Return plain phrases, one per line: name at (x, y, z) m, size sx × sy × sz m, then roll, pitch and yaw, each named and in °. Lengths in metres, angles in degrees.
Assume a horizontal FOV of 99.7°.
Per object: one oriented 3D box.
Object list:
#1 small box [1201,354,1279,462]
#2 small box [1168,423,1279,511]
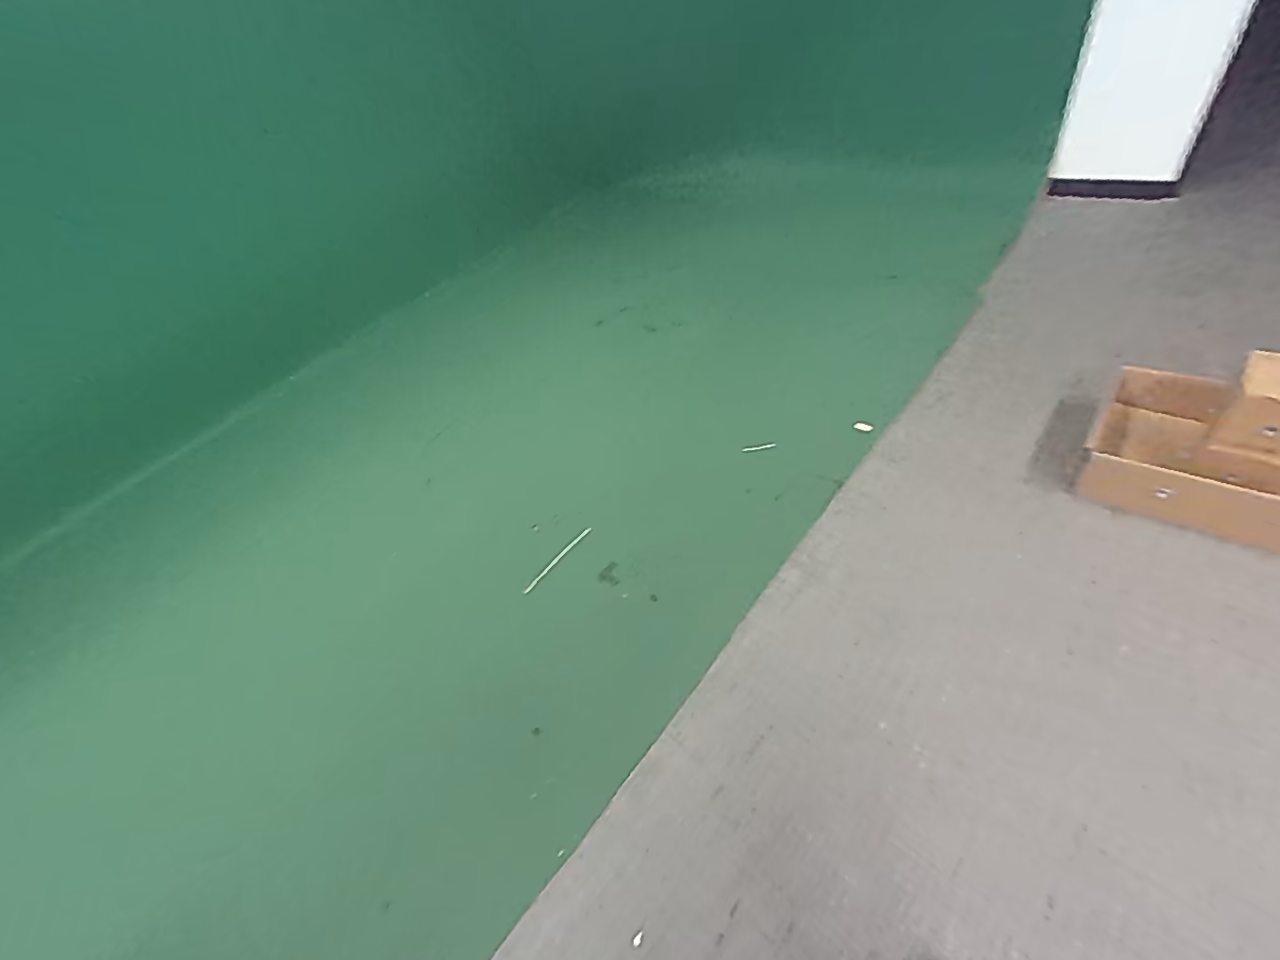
small box at (1.486, -0.168, 1.282) m, size 0.168 × 0.176 × 0.179 m, roll 23°, pitch 59°, yaw 34°
small box at (1.518, -0.045, 1.385) m, size 0.179 × 0.176 × 0.168 m, roll 23°, pitch 58°, yaw 33°
